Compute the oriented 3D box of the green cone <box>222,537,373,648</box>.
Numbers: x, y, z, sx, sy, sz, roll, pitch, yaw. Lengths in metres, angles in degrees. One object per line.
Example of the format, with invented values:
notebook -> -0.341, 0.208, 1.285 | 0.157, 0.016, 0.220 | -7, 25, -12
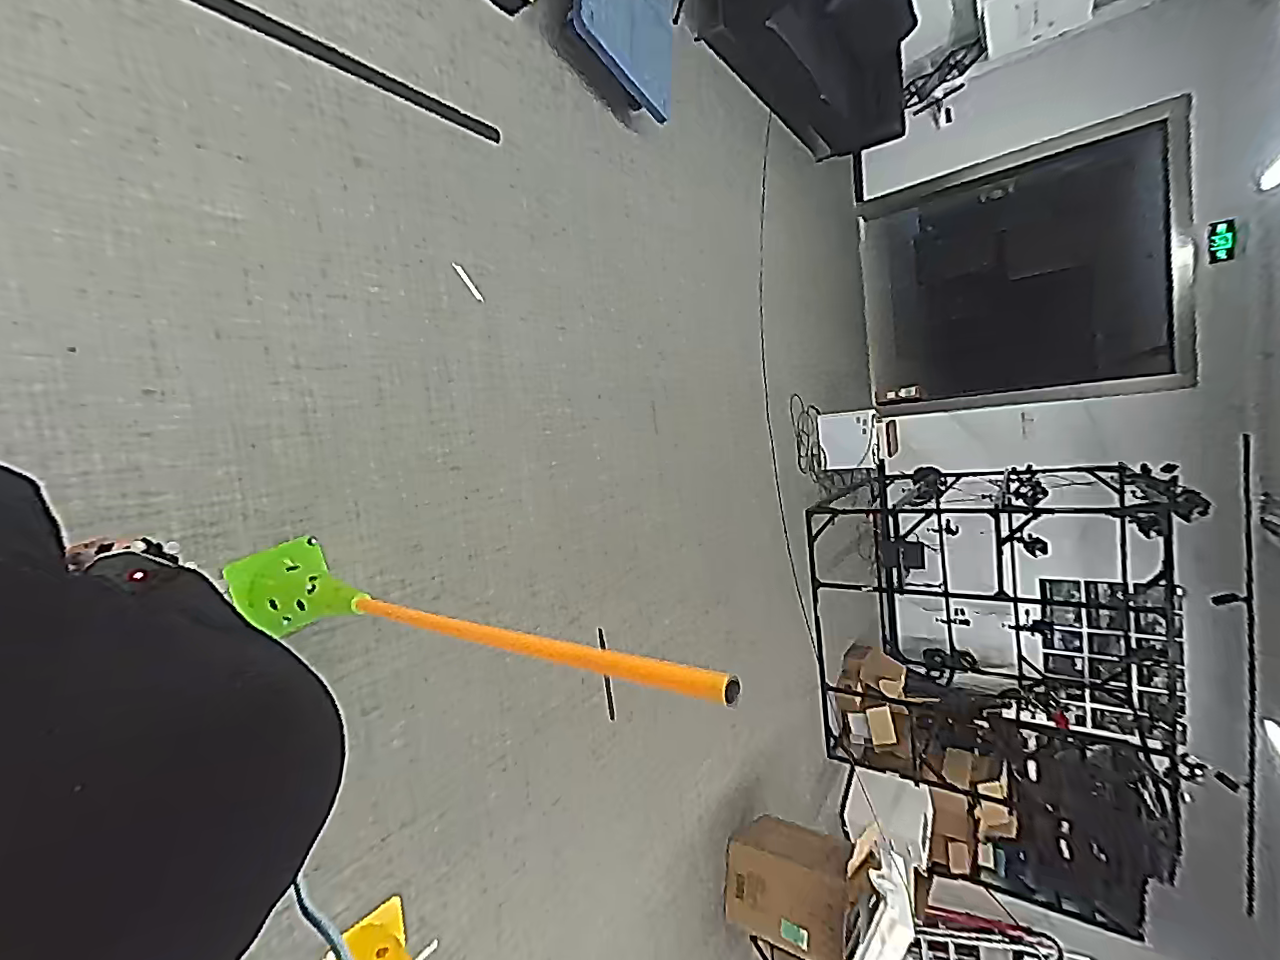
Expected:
green cone -> -0.683, 0.252, 1.141 | 0.200, 0.368, 0.202 | -29, 113, -51
